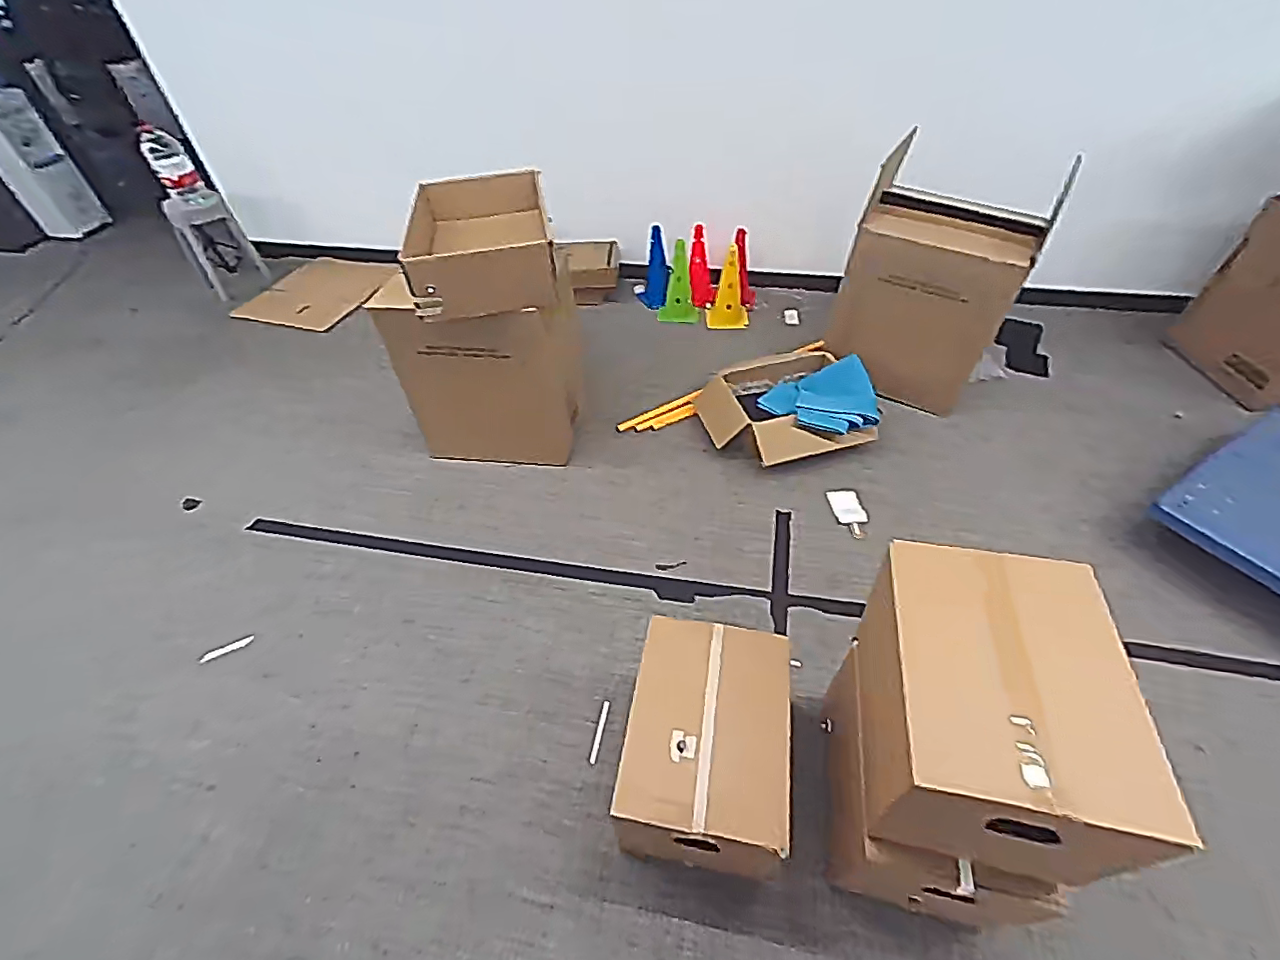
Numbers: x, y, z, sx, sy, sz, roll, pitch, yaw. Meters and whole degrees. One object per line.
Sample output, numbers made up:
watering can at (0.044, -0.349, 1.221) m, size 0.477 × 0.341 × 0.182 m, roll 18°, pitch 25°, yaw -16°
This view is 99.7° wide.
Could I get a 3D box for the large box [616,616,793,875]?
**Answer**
large box at (0.144, 0.564, 1.170) m, size 0.320 × 0.320 × 0.408 m, roll 6°, pitch 48°, yaw 9°
